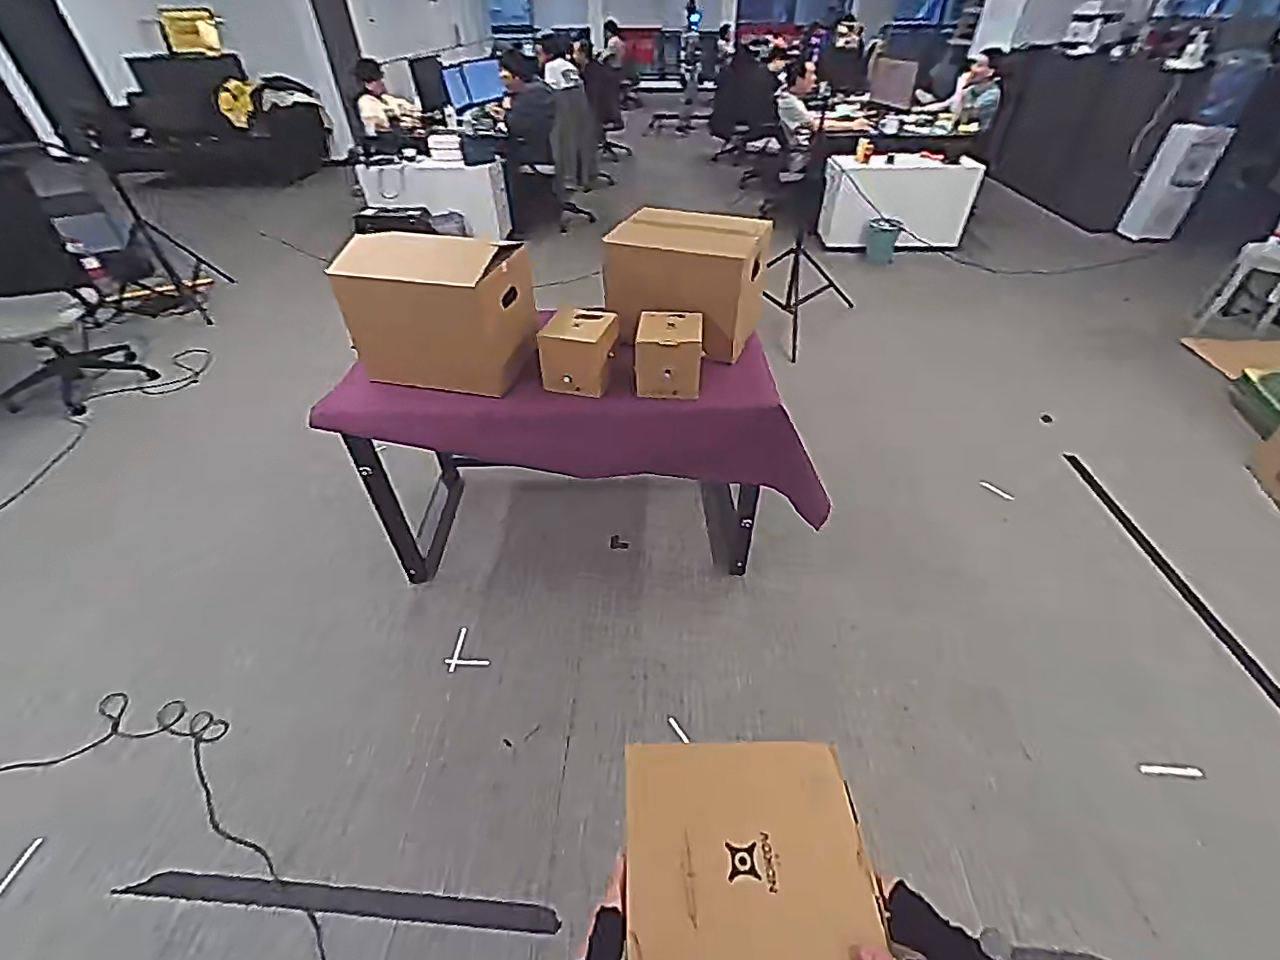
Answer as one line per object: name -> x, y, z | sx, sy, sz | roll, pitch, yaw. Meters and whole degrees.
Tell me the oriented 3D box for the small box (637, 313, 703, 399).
small box -> 0.083, -0.331, 1.452 | 0.168, 0.176, 0.179 | 3, 41, 4
